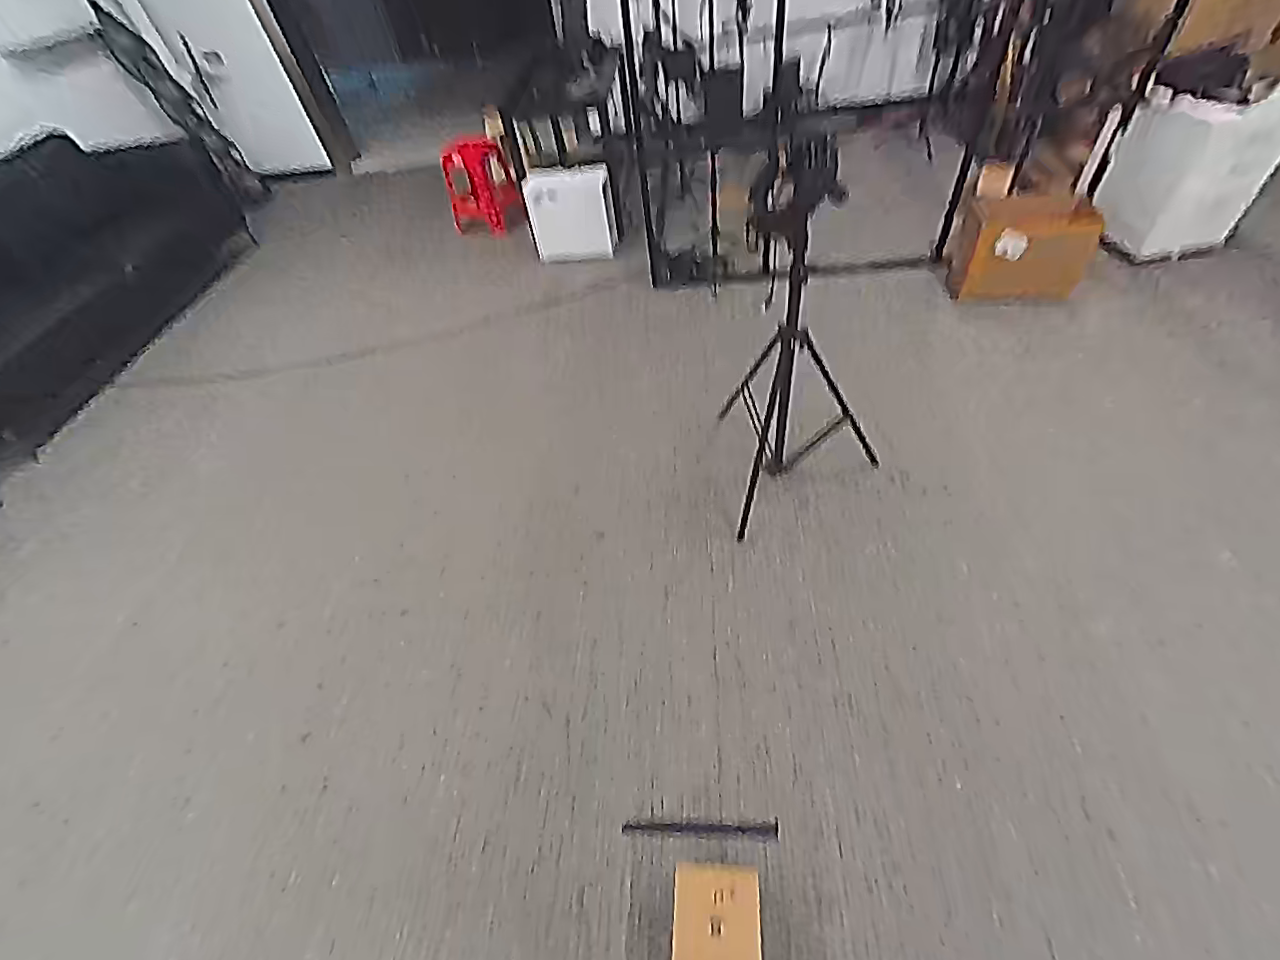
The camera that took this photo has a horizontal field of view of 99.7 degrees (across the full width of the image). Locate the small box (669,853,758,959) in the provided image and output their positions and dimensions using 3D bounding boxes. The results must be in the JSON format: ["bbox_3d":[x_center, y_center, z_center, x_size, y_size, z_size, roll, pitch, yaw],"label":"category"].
[{"bbox_3d":[0.153,0.877,1.093,0.168,0.176,0.179,0,49,9],"label":"small box"}]
